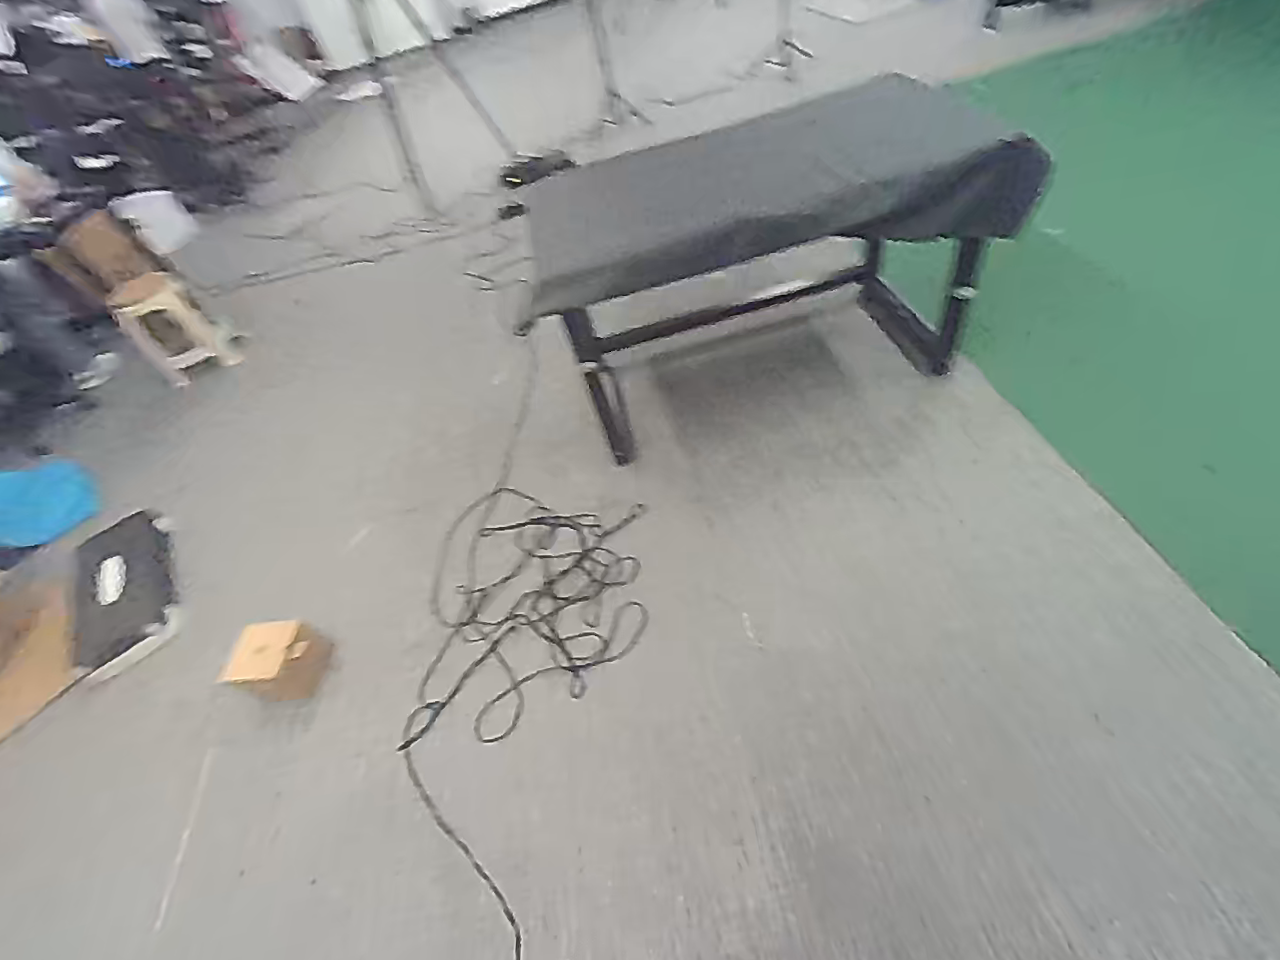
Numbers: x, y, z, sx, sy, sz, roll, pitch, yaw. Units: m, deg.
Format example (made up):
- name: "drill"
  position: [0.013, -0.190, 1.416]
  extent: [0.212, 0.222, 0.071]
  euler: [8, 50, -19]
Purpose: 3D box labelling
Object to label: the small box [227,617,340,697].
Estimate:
- name: "small box"
  position: [-1.011, 0.512, 1.550]
  extent: [0.179, 0.176, 0.168]
  euler: [-7, 49, 8]
